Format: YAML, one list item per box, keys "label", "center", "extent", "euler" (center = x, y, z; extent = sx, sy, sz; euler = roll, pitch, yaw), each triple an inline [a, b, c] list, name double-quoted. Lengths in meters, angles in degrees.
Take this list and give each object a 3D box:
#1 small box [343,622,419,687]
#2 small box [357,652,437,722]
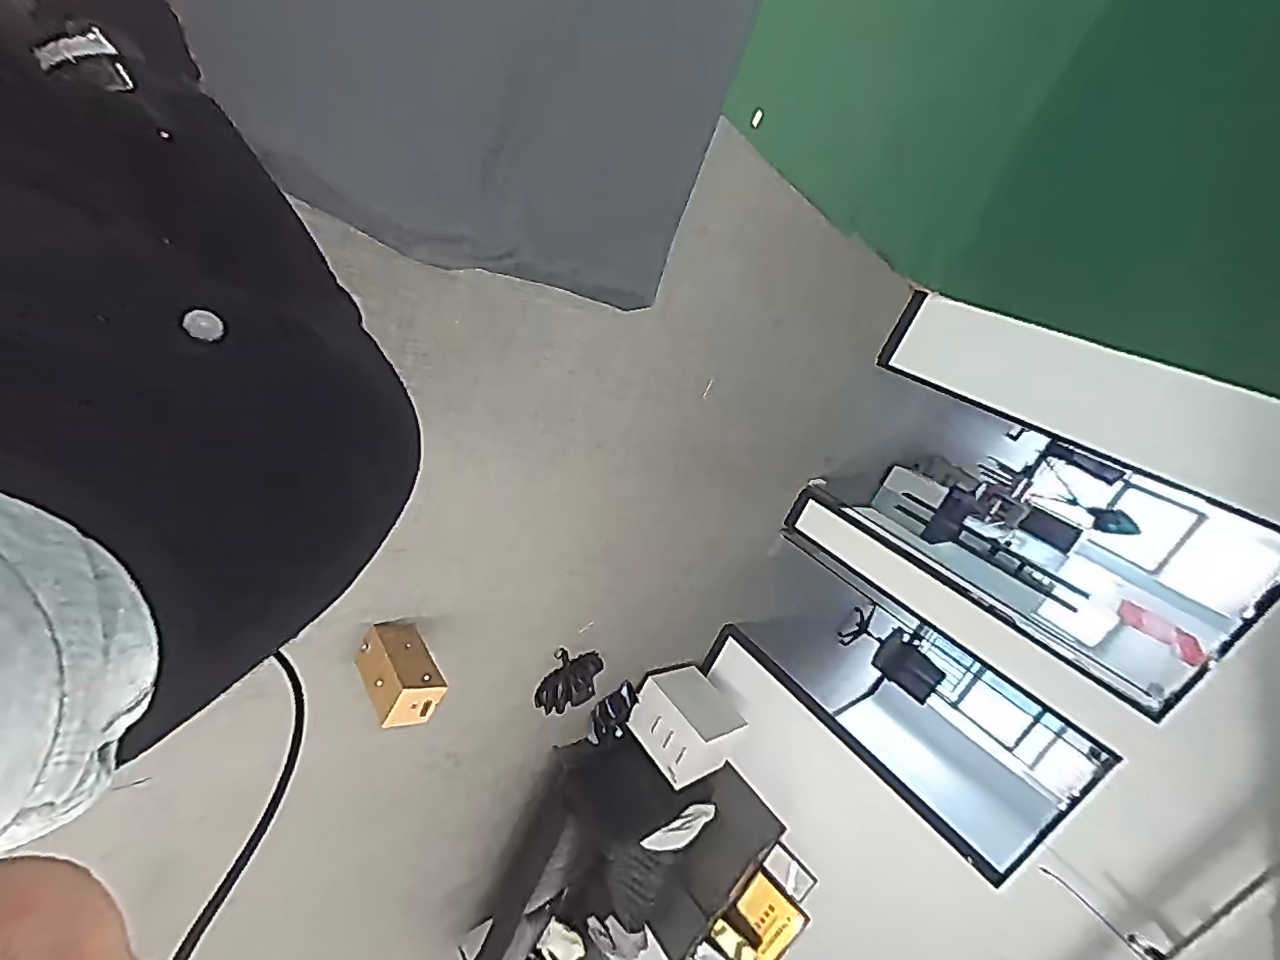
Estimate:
- label: "small box"
  center: [-0.974, 0.650, 2.028]
  extent: [0.179, 0.176, 0.168]
  euler: [21, 103, -51]
- label: "small box"
  center: [-0.870, 0.732, 1.930]
  extent: [0.179, 0.176, 0.168]
  euler: [22, 102, -52]
